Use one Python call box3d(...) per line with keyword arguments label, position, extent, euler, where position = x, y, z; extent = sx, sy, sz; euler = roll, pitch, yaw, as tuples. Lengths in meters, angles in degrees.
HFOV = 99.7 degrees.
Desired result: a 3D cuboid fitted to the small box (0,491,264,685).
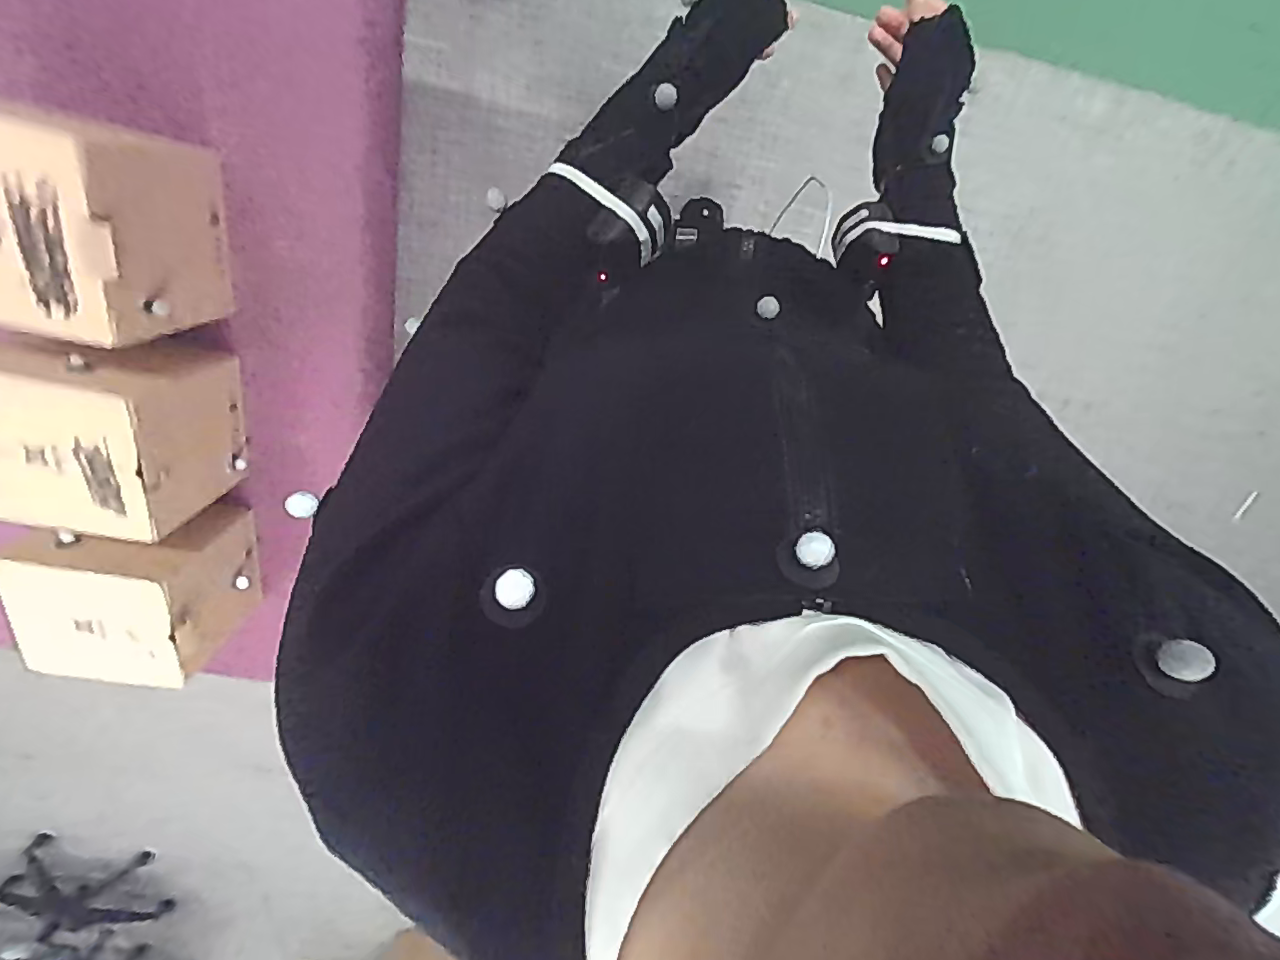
box3d(label="small box", position=(-0.627, 0.130, 0.694), extent=(0.179, 0.176, 0.168), euler=(10, 116, -8))
